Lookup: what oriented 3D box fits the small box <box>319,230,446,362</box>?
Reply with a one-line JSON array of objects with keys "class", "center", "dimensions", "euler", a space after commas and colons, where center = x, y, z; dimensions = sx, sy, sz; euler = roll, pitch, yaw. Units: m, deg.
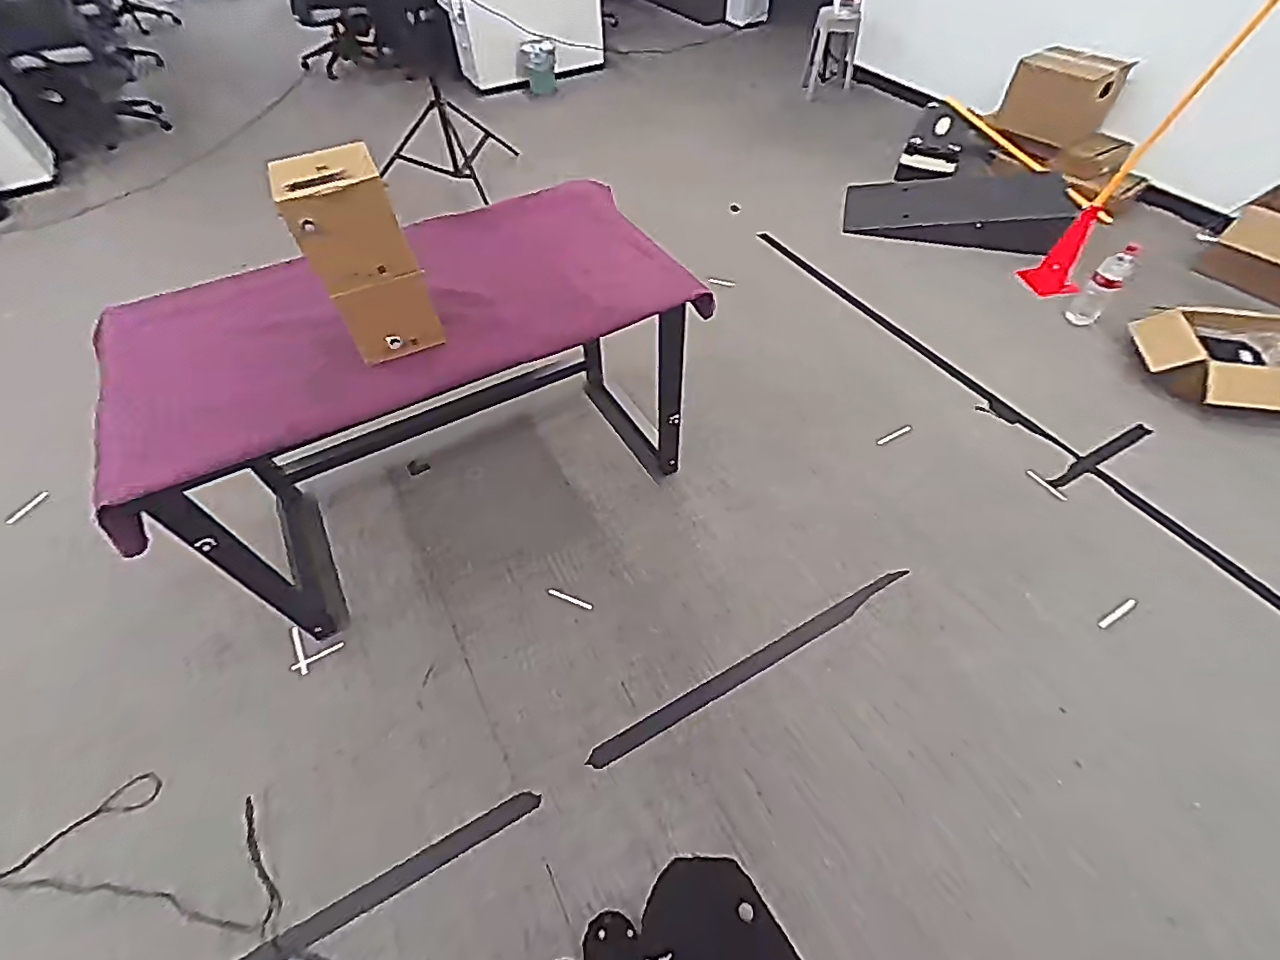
[{"class": "small box", "center": [-0.518, -0.371, 1.099], "dimensions": [0.168, 0.176, 0.179], "euler": [-24, 56, -14]}]
